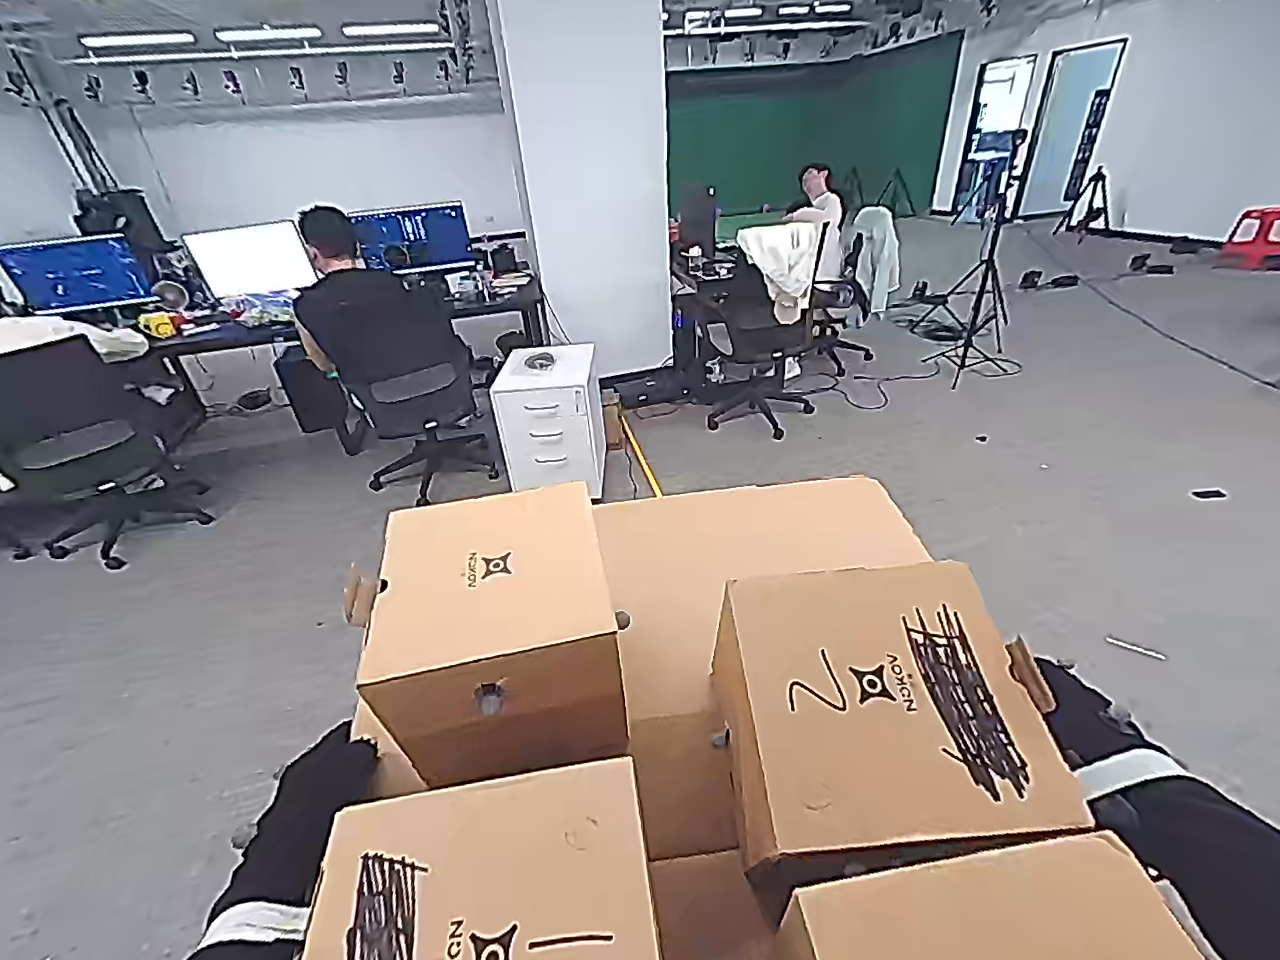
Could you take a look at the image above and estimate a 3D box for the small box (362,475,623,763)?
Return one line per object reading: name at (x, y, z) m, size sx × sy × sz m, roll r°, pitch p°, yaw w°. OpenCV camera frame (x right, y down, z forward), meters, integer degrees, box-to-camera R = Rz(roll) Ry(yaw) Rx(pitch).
small box at (-0.113, 0.122, 0.483) m, size 0.179 × 0.176 × 0.168 m, roll -11°, pitch 41°, yaw -6°
